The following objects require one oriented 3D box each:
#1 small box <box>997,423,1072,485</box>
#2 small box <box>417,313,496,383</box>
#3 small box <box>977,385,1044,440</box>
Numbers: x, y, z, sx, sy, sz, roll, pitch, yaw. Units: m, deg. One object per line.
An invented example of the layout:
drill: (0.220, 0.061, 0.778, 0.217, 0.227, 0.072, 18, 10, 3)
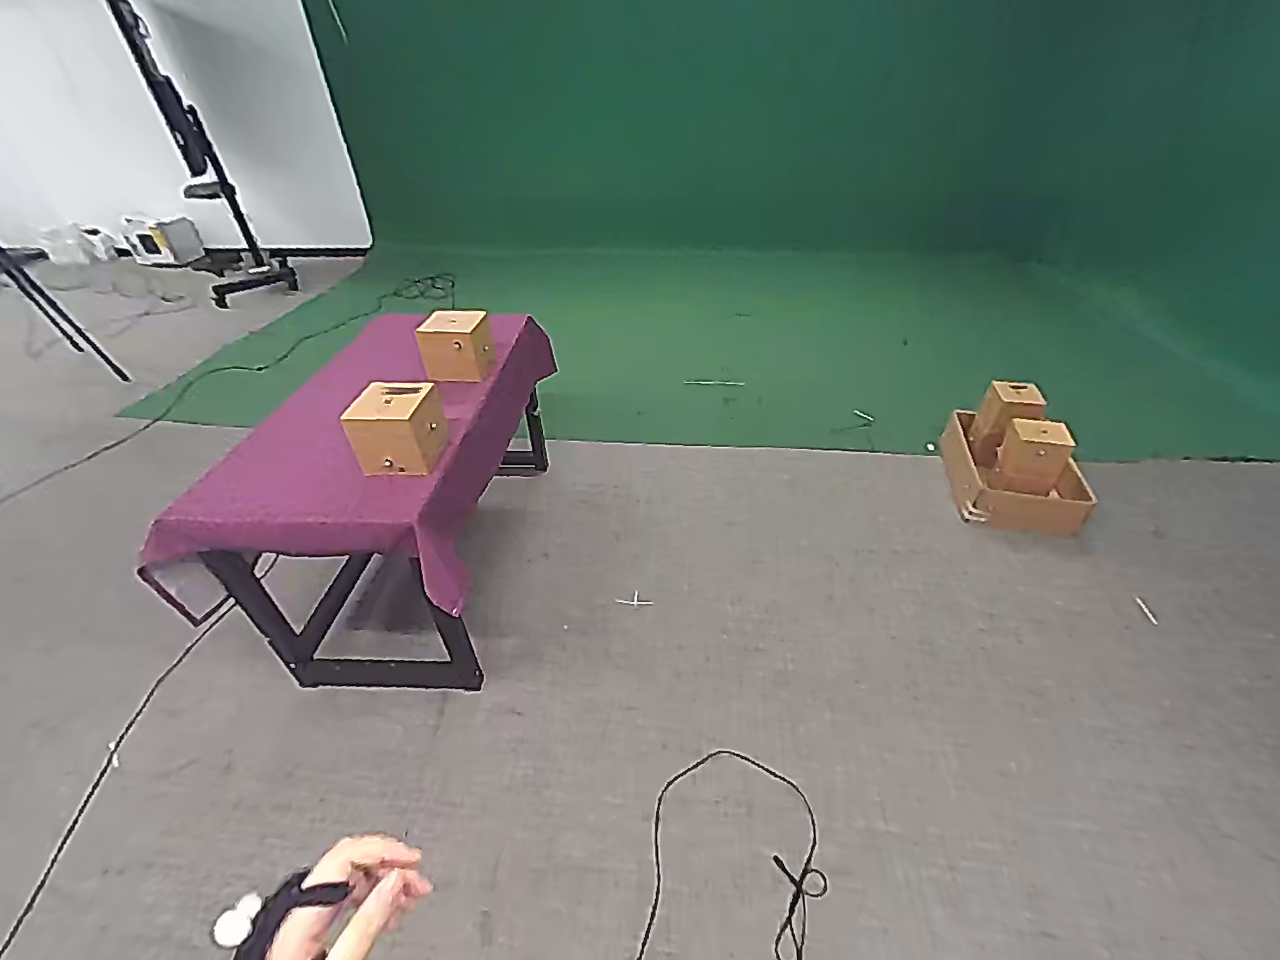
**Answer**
small box: (1.520, -0.098, 2.094, 0.179, 0.176, 0.168, 9, 39, 17)
small box: (-0.576, -0.421, 1.726, 0.179, 0.176, 0.168, 3, 38, 6)
small box: (1.582, -0.285, 2.322, 0.168, 0.176, 0.179, 8, 40, 11)
